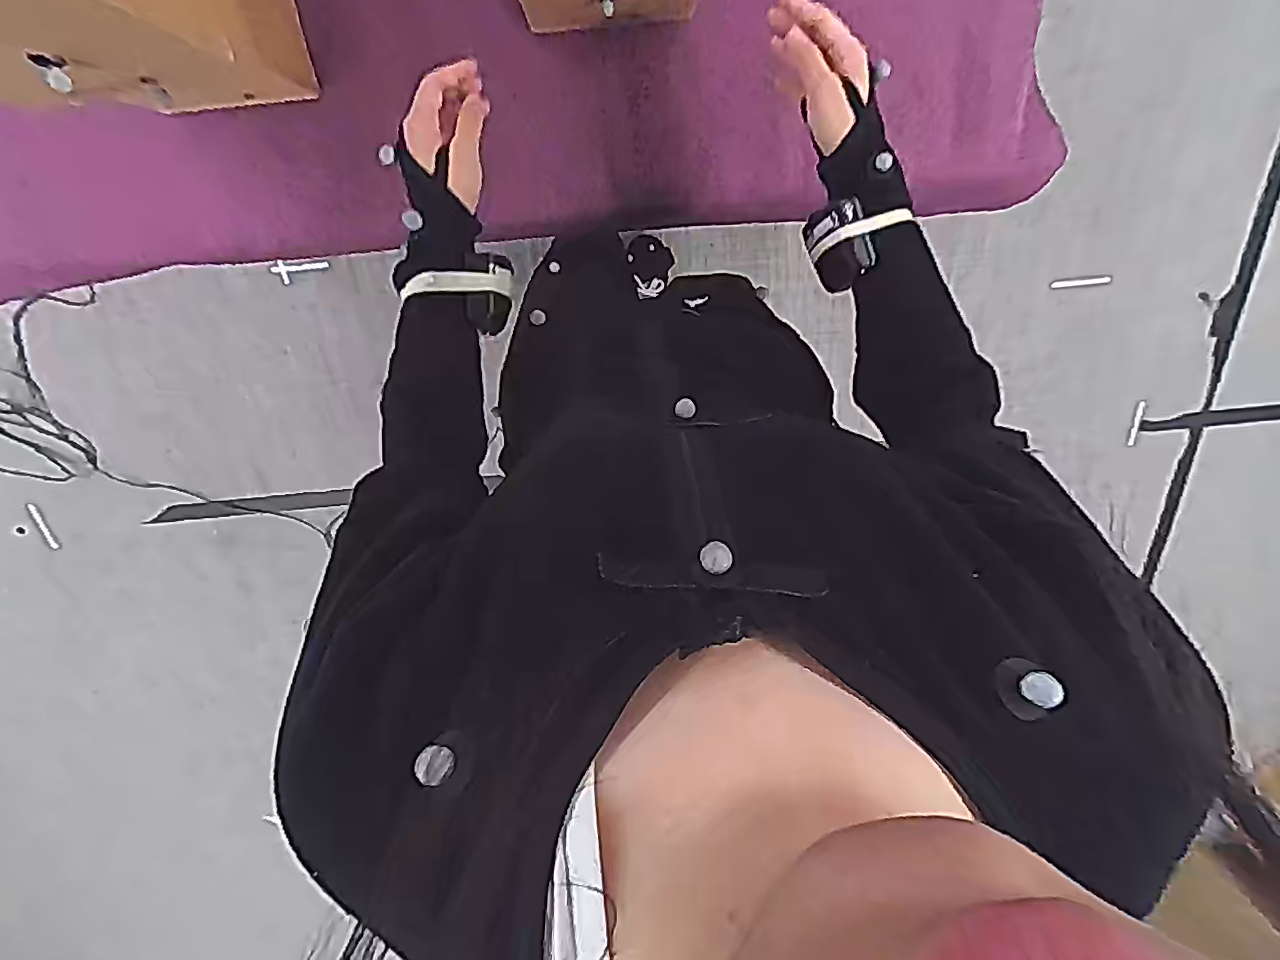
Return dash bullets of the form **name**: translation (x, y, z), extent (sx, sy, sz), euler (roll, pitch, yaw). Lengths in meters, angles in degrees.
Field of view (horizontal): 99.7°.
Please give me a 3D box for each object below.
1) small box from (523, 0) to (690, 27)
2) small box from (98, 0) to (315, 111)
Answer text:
- **small box**: translation (-0.033, -0.508, 0.447), extent (0.168, 0.176, 0.179), euler (-6, 114, -1)
- **small box**: translation (-0.416, -0.433, 0.458), extent (0.168, 0.176, 0.179), euler (-7, 114, -1)
